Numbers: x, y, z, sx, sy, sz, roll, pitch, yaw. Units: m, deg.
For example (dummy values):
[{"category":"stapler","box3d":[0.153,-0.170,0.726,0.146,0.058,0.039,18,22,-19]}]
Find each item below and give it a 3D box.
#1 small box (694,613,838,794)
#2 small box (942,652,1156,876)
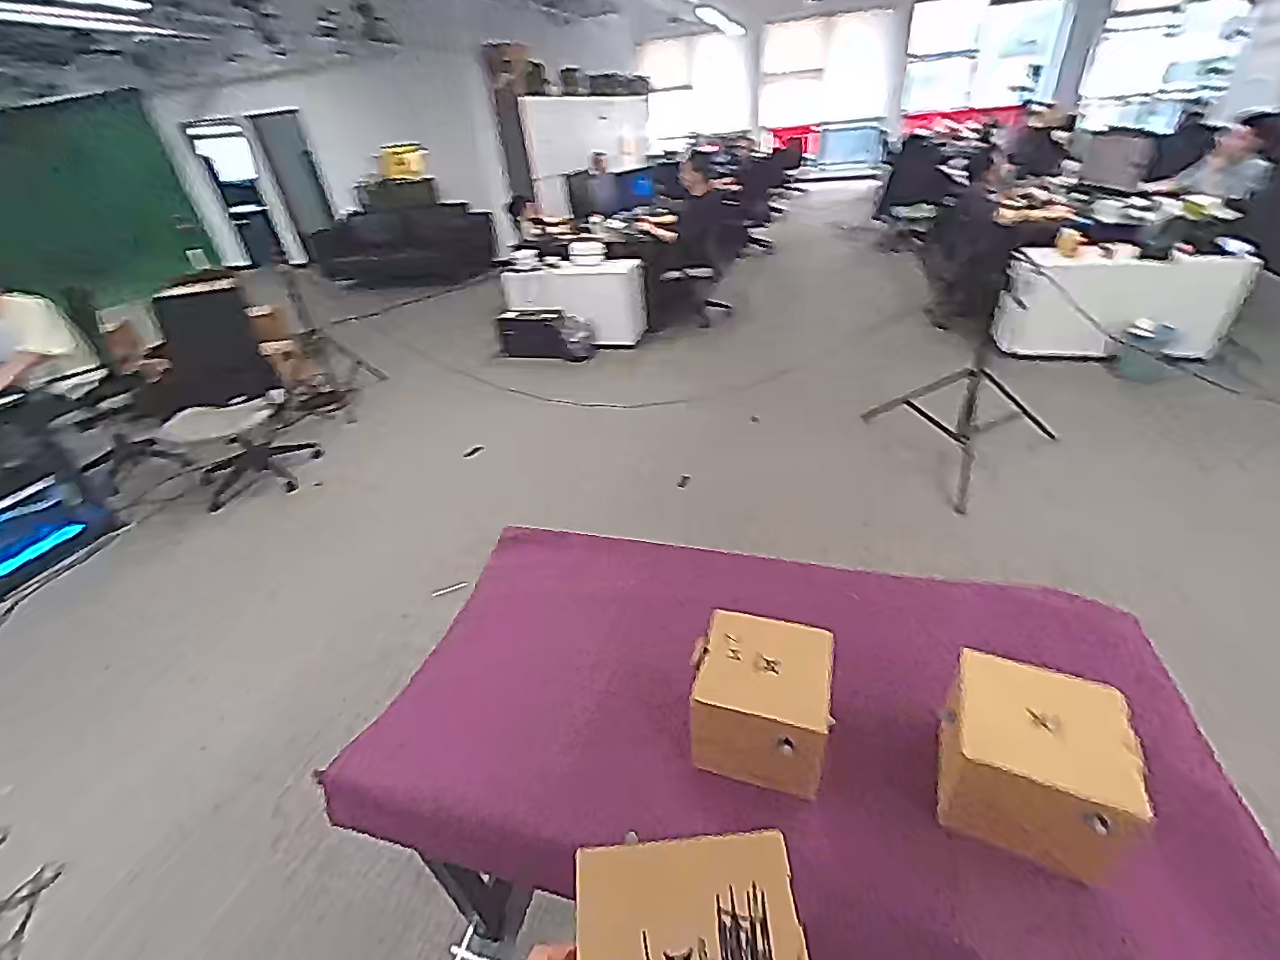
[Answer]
[{"category":"small box","box3d":[0.186,0.327,0.795,0.179,0.176,0.168,6,35,19]},{"category":"small box","box3d":[0.499,0.358,0.692,0.179,0.176,0.168,11,37,25]}]
